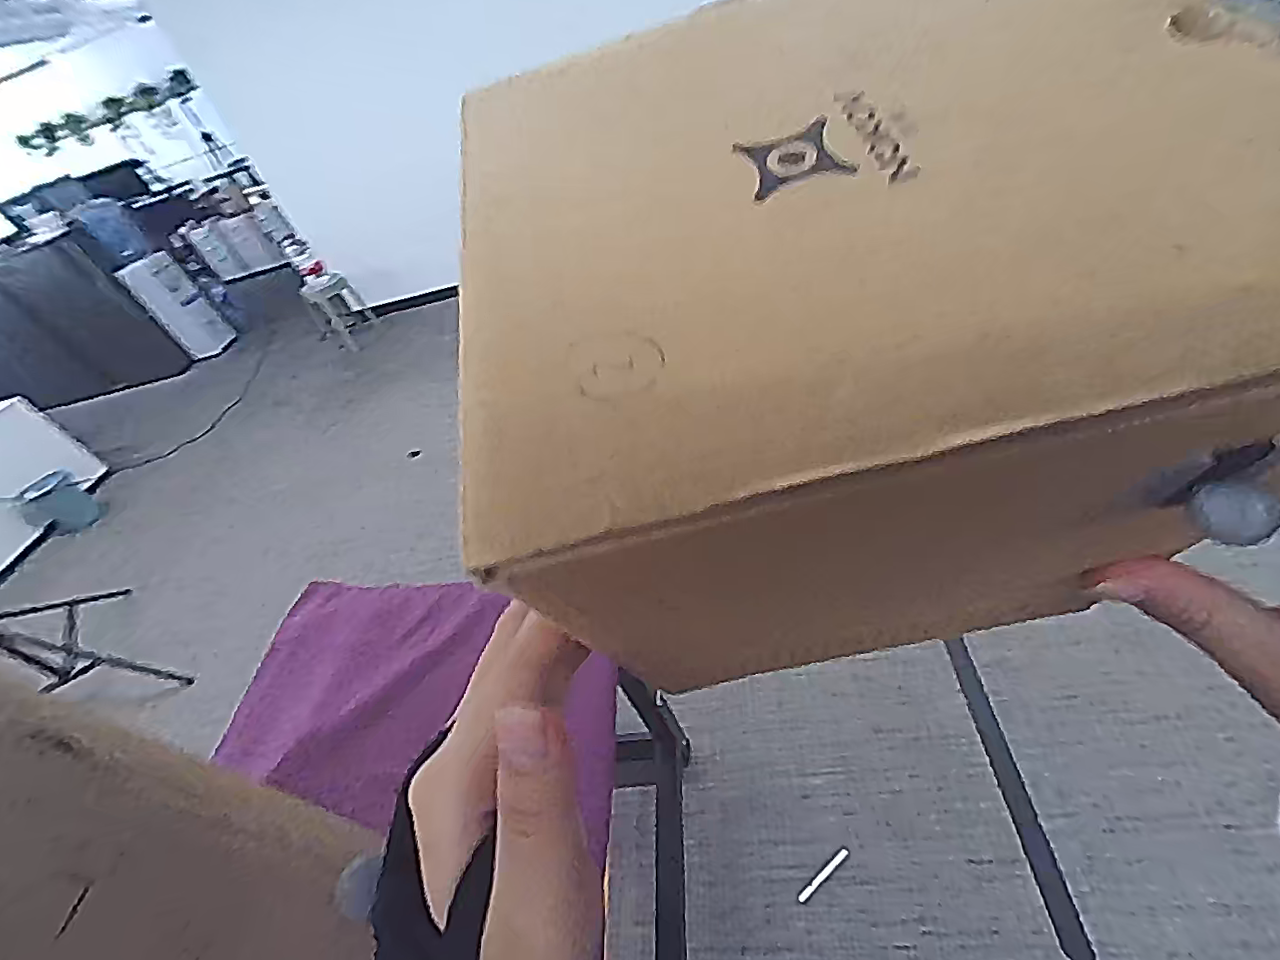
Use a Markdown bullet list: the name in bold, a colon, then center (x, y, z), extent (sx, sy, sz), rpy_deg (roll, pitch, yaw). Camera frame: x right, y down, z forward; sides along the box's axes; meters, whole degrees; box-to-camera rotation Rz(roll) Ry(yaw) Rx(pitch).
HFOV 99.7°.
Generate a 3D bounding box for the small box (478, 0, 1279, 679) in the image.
- **small box**: center (0.061, -0.037, 0.196), extent (0.179, 0.176, 0.168), rpy_deg (-14, 59, 6)
